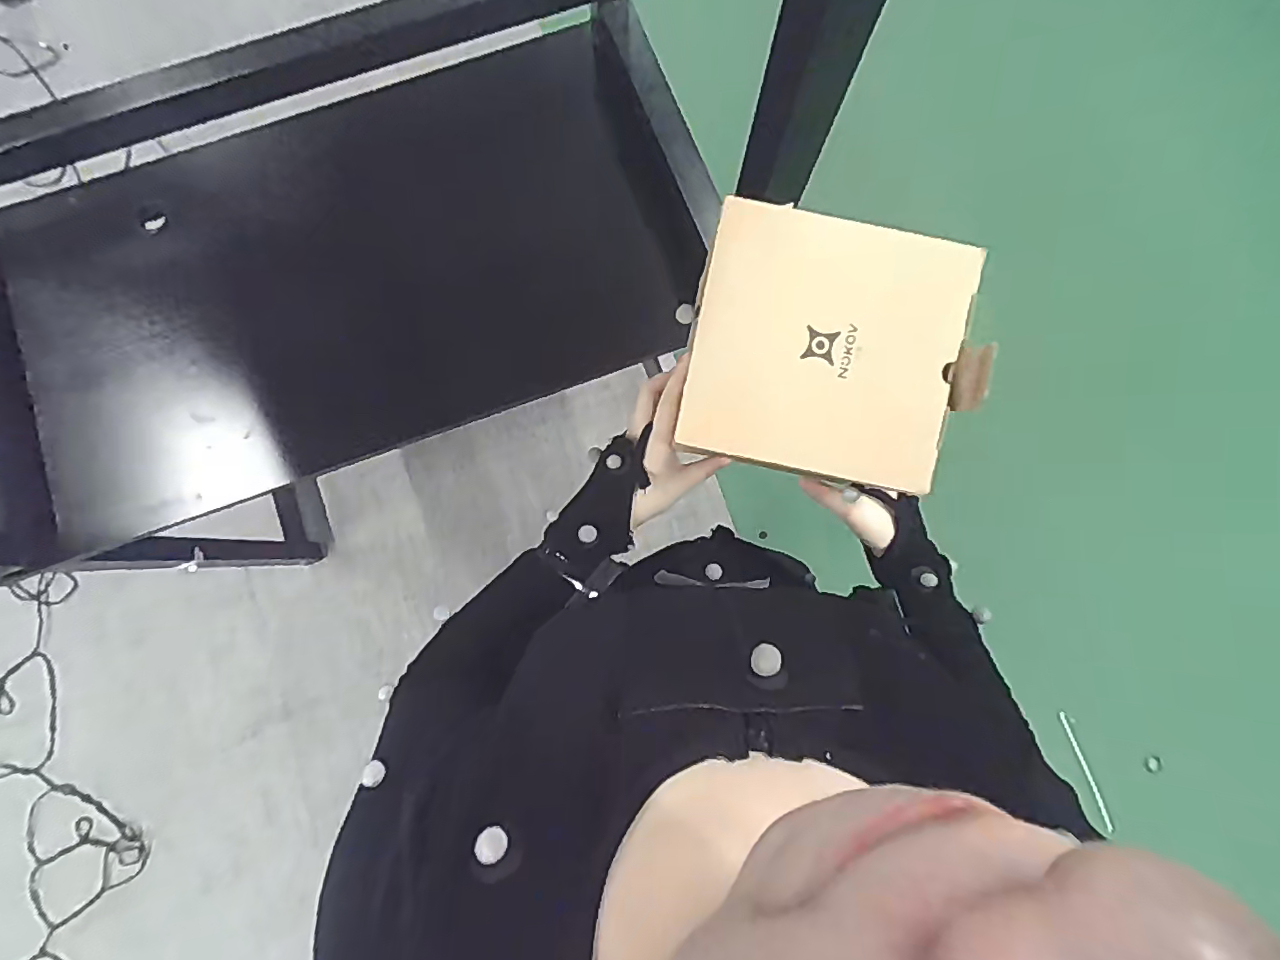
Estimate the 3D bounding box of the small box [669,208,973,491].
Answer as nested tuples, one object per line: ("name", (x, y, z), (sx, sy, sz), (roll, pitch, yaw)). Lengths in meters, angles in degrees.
("small box", (0.122, -0.090, 0.441), (0.179, 0.176, 0.168), (11, 93, 0))
